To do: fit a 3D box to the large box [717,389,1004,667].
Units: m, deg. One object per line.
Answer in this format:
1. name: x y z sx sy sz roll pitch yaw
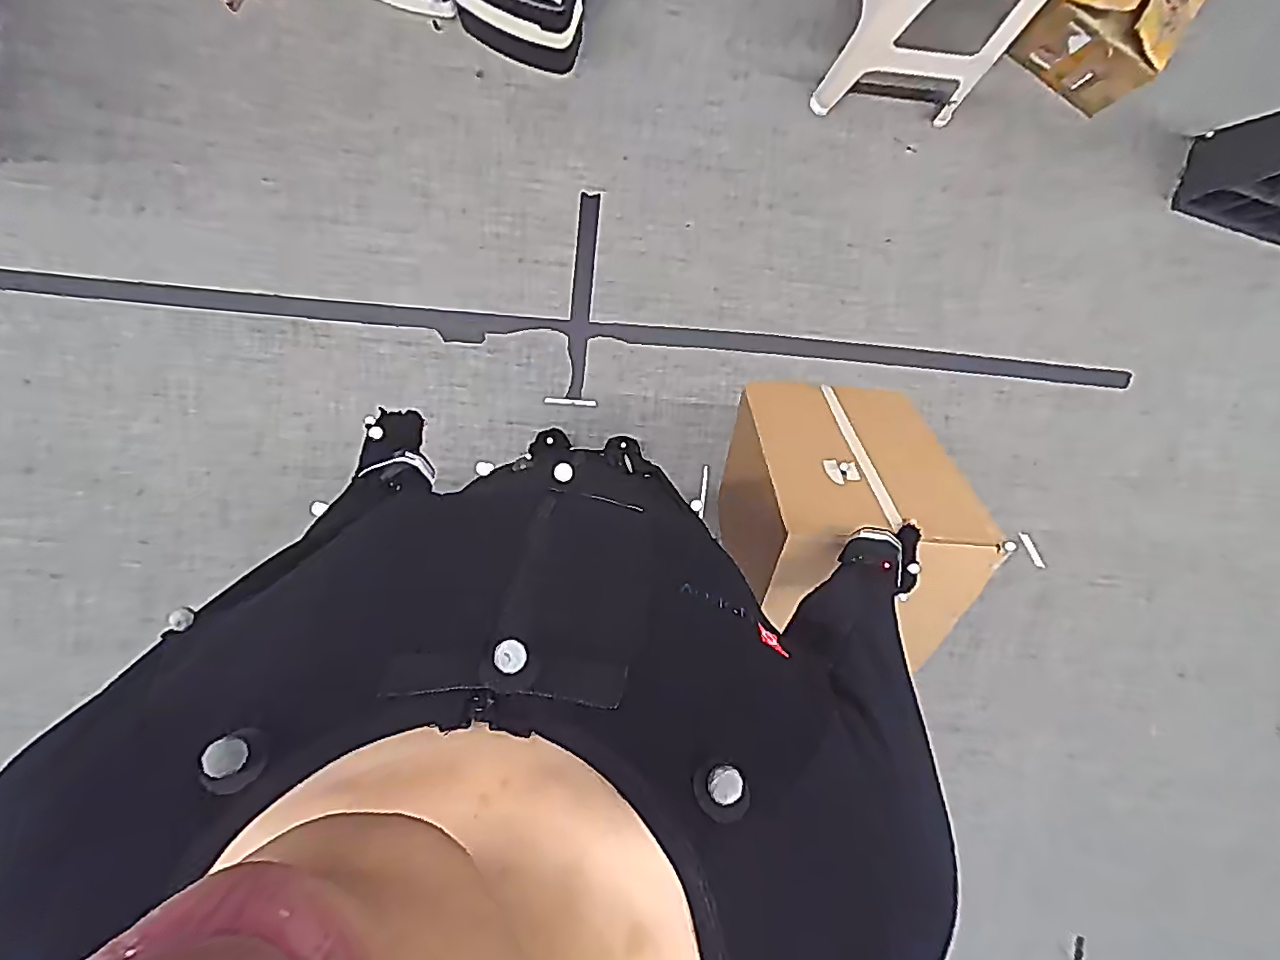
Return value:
1. large box: 0.341 0.079 0.990 0.320 0.408 0.320 3 131 -3
